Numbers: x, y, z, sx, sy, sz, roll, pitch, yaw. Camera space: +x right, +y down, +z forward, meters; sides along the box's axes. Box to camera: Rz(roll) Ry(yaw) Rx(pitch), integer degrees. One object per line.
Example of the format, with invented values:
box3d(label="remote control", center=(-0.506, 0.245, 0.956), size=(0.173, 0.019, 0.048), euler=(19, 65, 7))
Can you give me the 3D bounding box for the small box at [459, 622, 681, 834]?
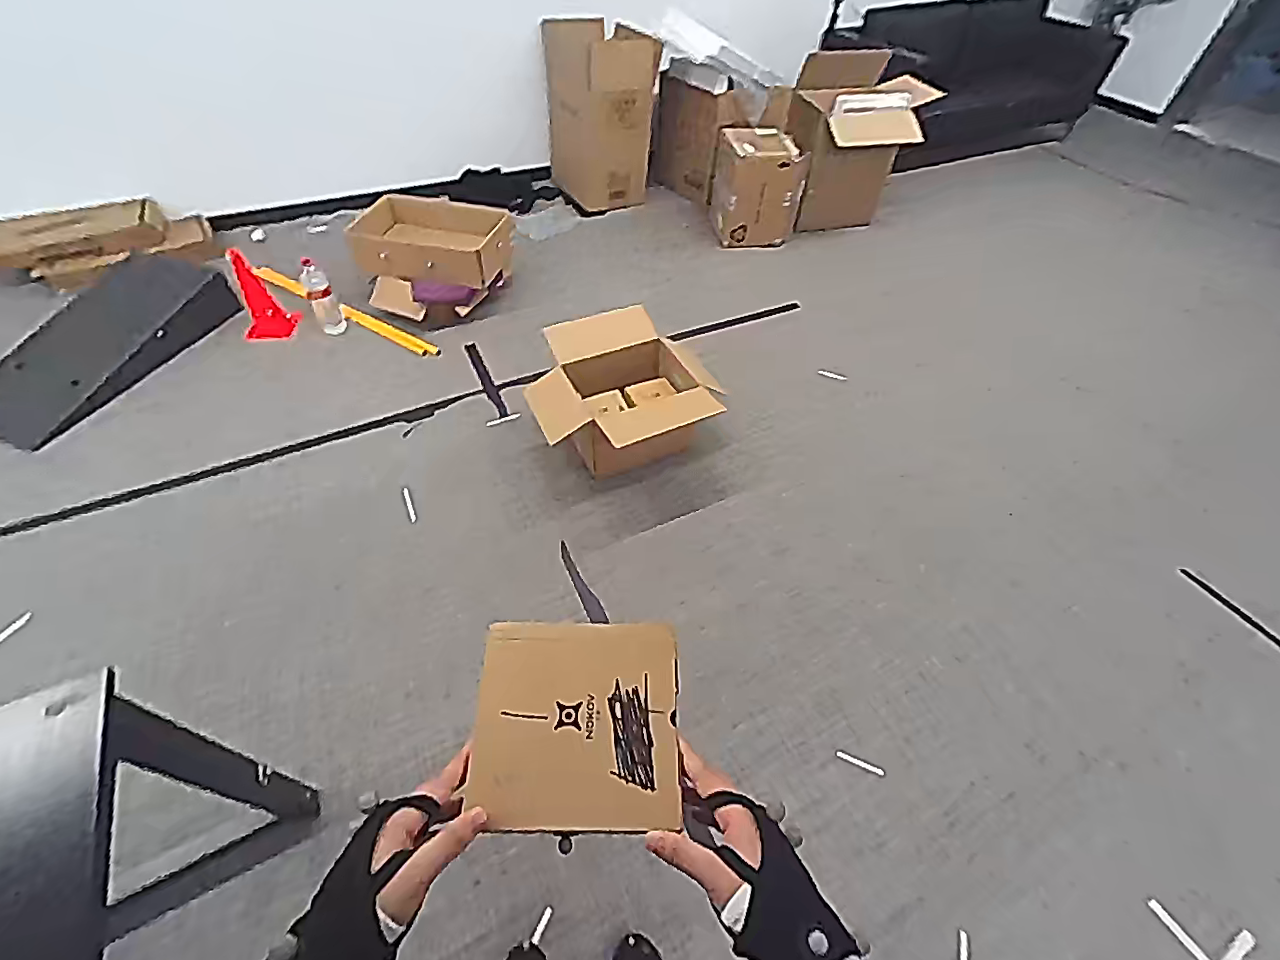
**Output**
box3d(label="small box", center=(-0.057, 0.248, 0.532), size=(0.179, 0.176, 0.168), euler=(2, 57, -2))
